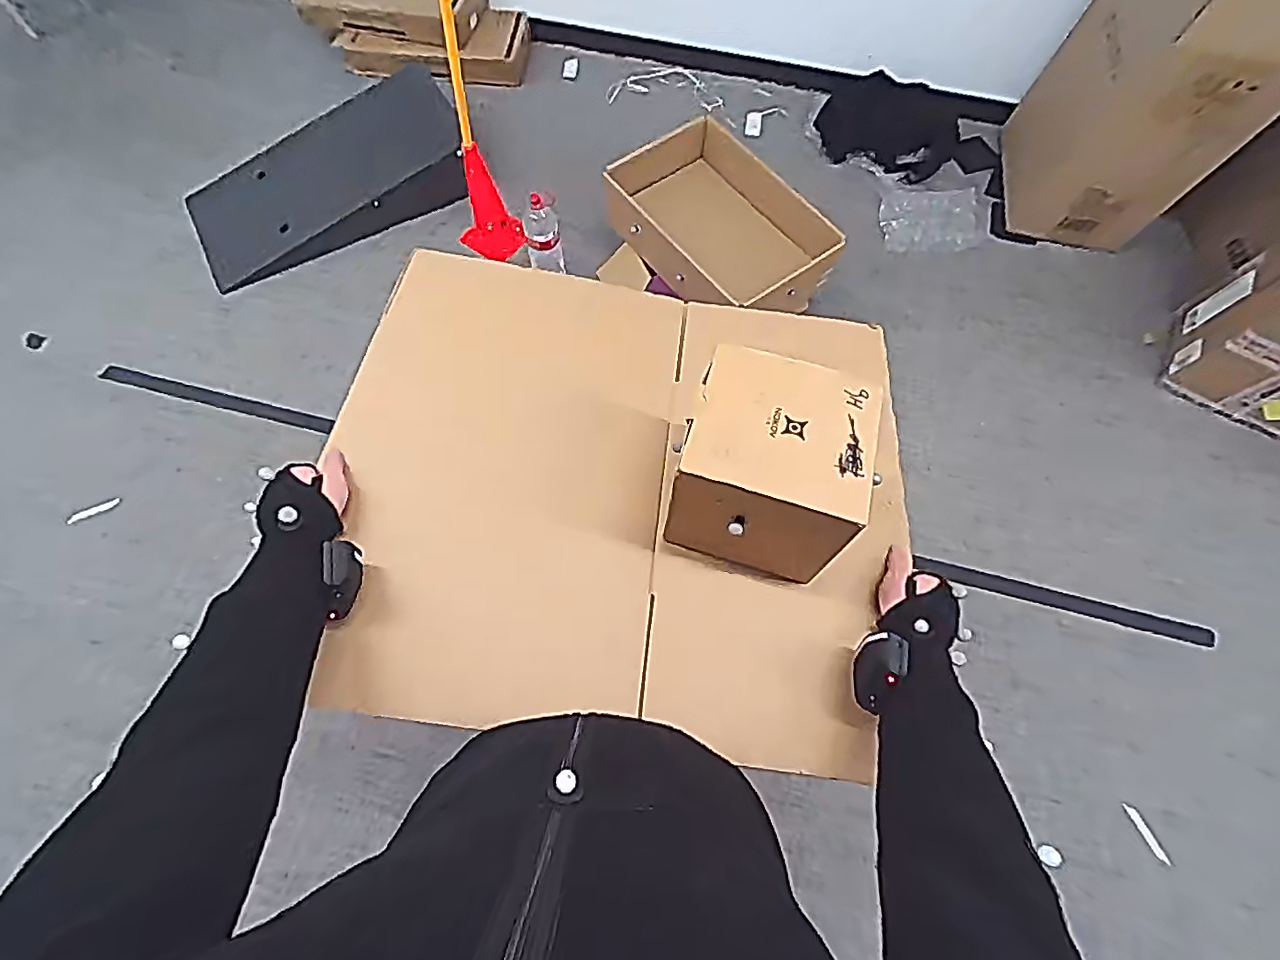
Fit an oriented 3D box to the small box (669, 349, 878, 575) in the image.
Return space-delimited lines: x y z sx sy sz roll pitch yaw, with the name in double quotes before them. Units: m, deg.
"small box" 0.137 -0.012 0.597 0.179 0.176 0.168 16 62 7
